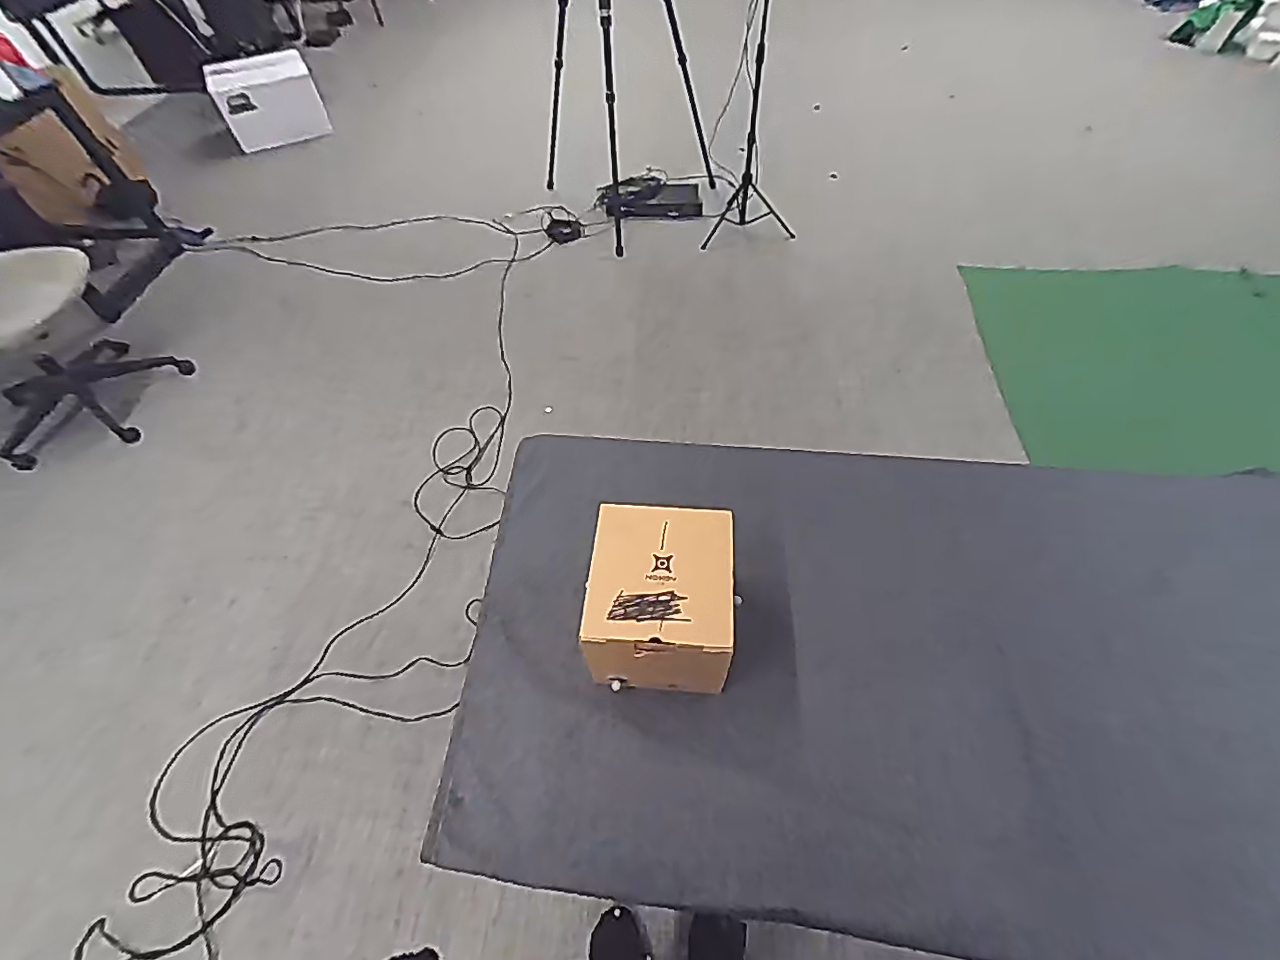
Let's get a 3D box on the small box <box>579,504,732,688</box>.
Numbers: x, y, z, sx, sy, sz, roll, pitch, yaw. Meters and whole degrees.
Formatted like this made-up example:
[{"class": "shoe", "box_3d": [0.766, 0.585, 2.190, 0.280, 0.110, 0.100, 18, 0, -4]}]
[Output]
[{"class": "small box", "box_3d": [0.027, 0.151, 0.684, 0.168, 0.176, 0.179, 3, 54, 5]}]
